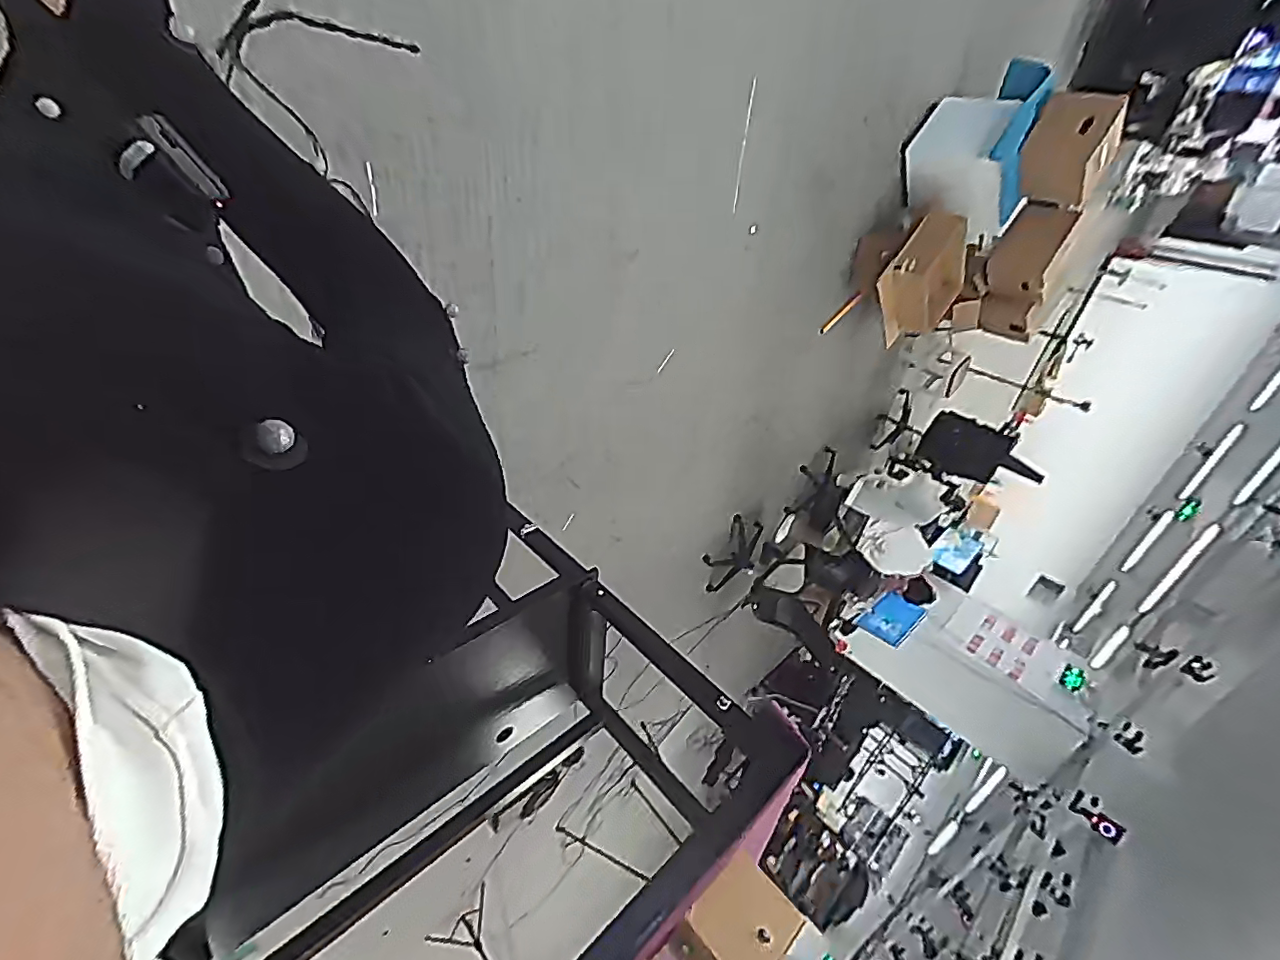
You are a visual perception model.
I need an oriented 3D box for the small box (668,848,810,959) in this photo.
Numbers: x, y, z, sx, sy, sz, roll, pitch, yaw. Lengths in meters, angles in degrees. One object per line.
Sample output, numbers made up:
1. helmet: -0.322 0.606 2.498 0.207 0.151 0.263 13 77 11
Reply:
1. small box: 0.180 0.843 1.008 0.179 0.176 0.168 -20 132 -39
